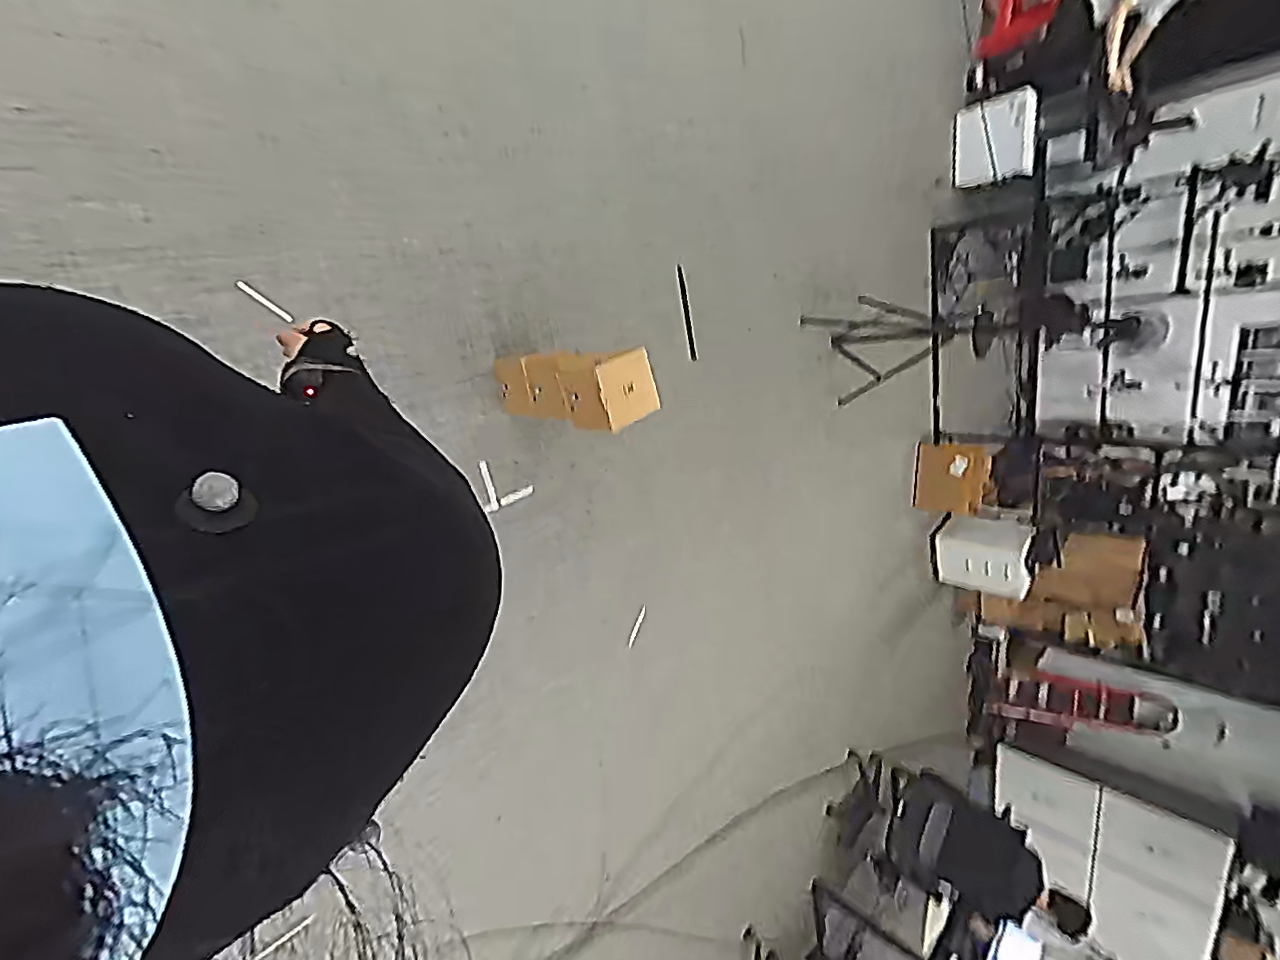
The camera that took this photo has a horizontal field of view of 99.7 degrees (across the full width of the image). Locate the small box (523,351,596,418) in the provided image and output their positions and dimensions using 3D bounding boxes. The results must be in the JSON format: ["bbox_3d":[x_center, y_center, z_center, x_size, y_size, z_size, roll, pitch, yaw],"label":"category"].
[{"bbox_3d":[-0.201,-0.270,1.515,0.179,0.176,0.168,-19,108,-39],"label":"small box"}]

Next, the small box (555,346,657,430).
[{"bbox_3d":[-0.089,-0.240,1.400,0.179,0.176,0.168,-33,117,-34],"label":"small box"}]
